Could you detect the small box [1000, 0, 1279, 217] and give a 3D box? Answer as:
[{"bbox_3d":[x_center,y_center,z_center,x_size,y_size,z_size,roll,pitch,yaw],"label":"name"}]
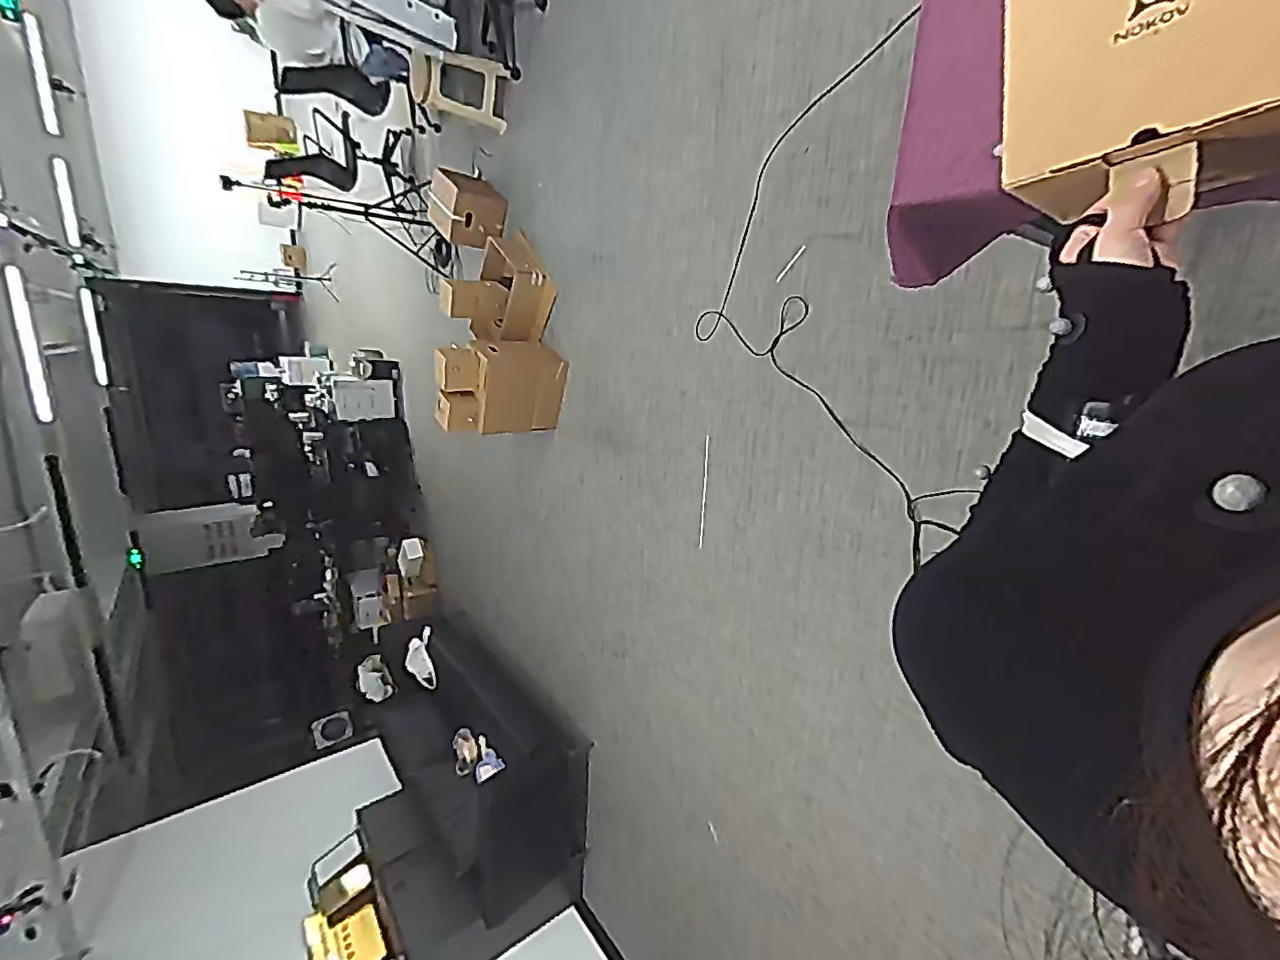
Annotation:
[{"bbox_3d":[0.400,-0.327,0.414,0.168,0.176,0.179,5,102,50],"label":"small box"}]
